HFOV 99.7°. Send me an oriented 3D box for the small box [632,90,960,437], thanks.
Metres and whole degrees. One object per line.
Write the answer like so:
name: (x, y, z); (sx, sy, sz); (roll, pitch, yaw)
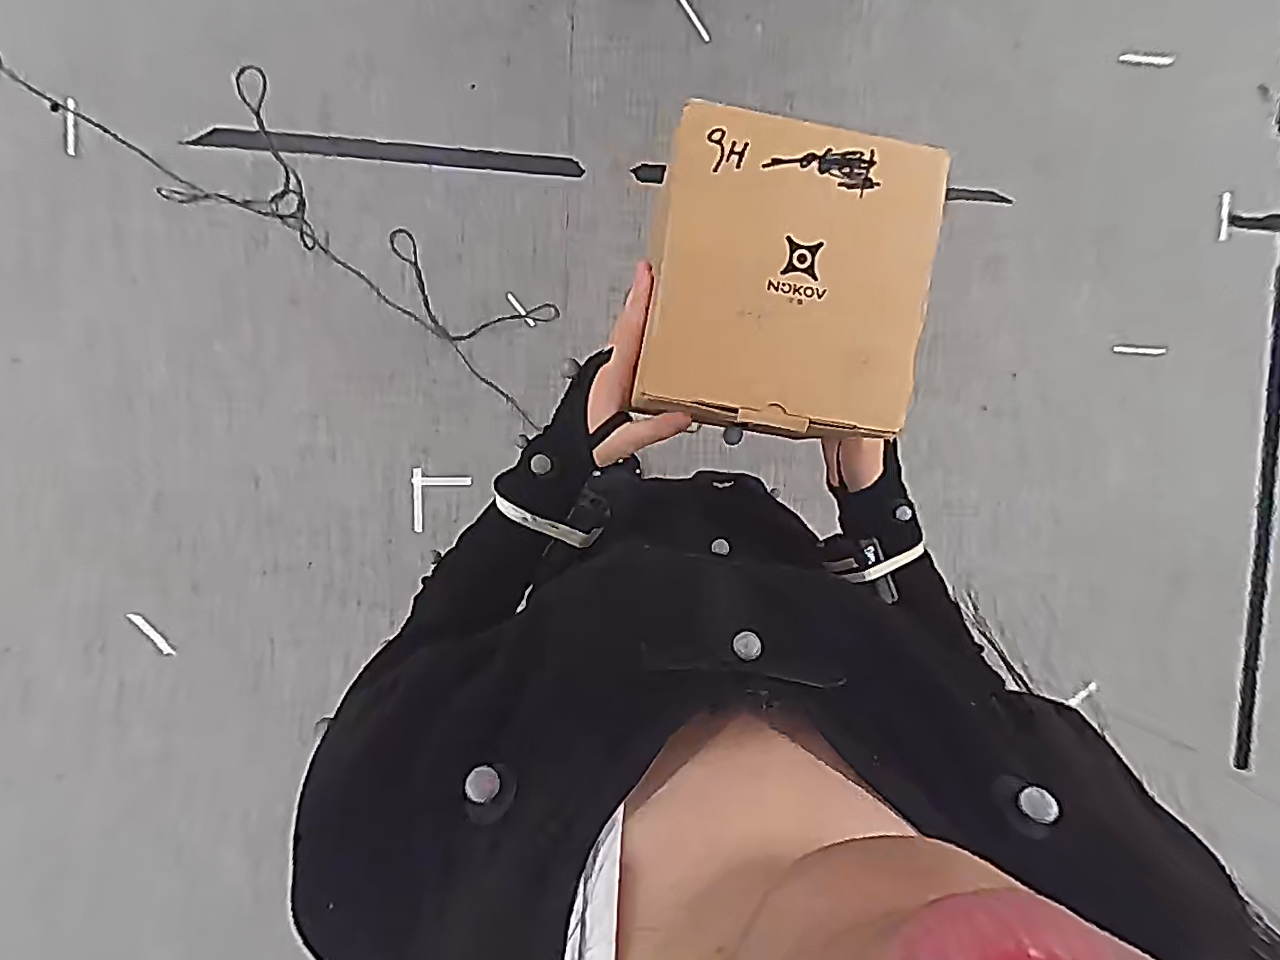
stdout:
small box: (0.089, -0.129, 0.395); (0.168, 0.176, 0.179); (7, 94, -7)
